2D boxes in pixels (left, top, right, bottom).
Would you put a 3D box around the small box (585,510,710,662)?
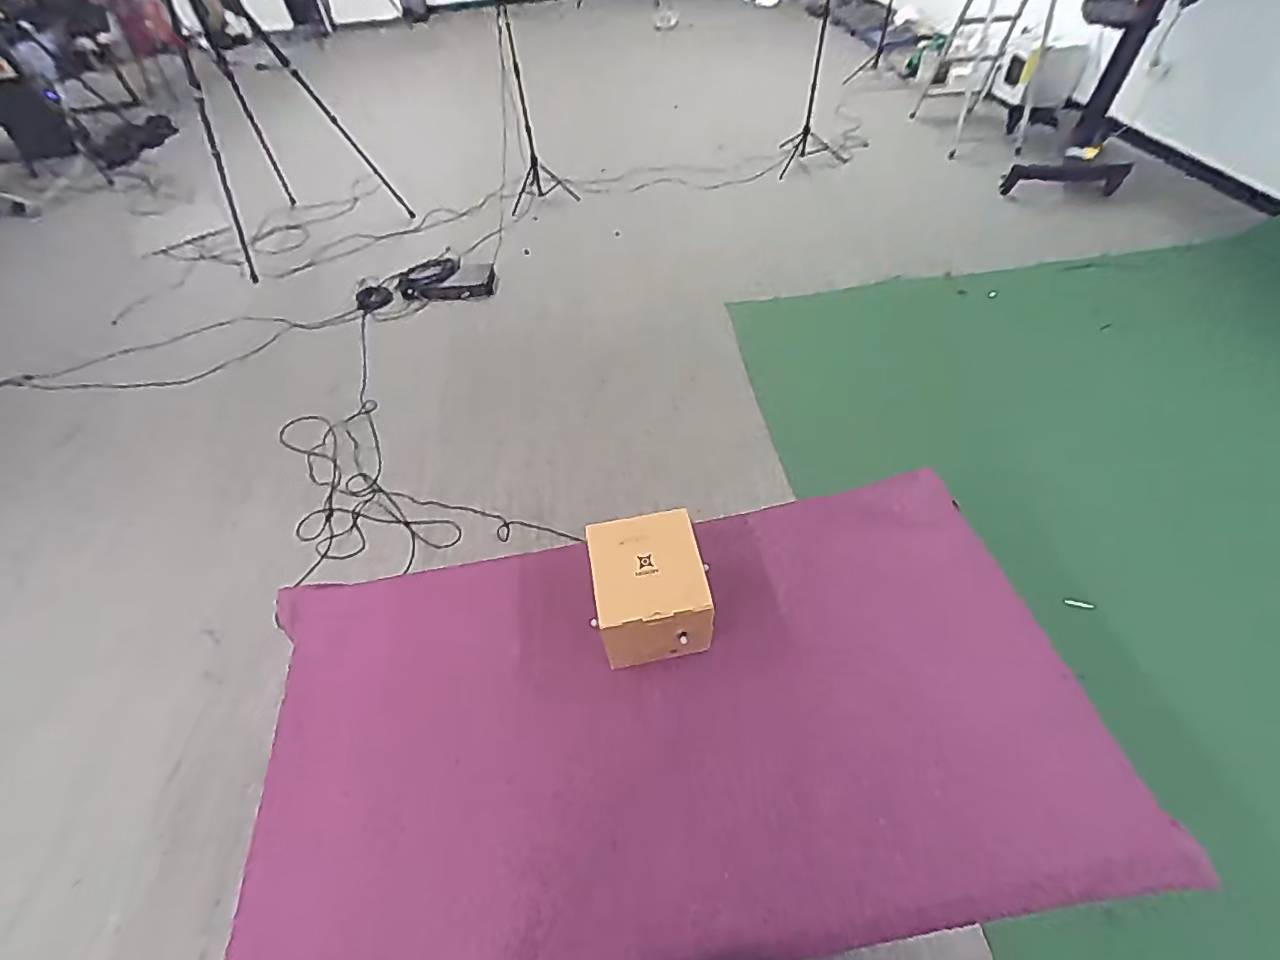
[{"bbox_3d":[0.012,0.177,0.866,0.168,0.176,0.179,-10,51,-4],"label":"small box"}]
